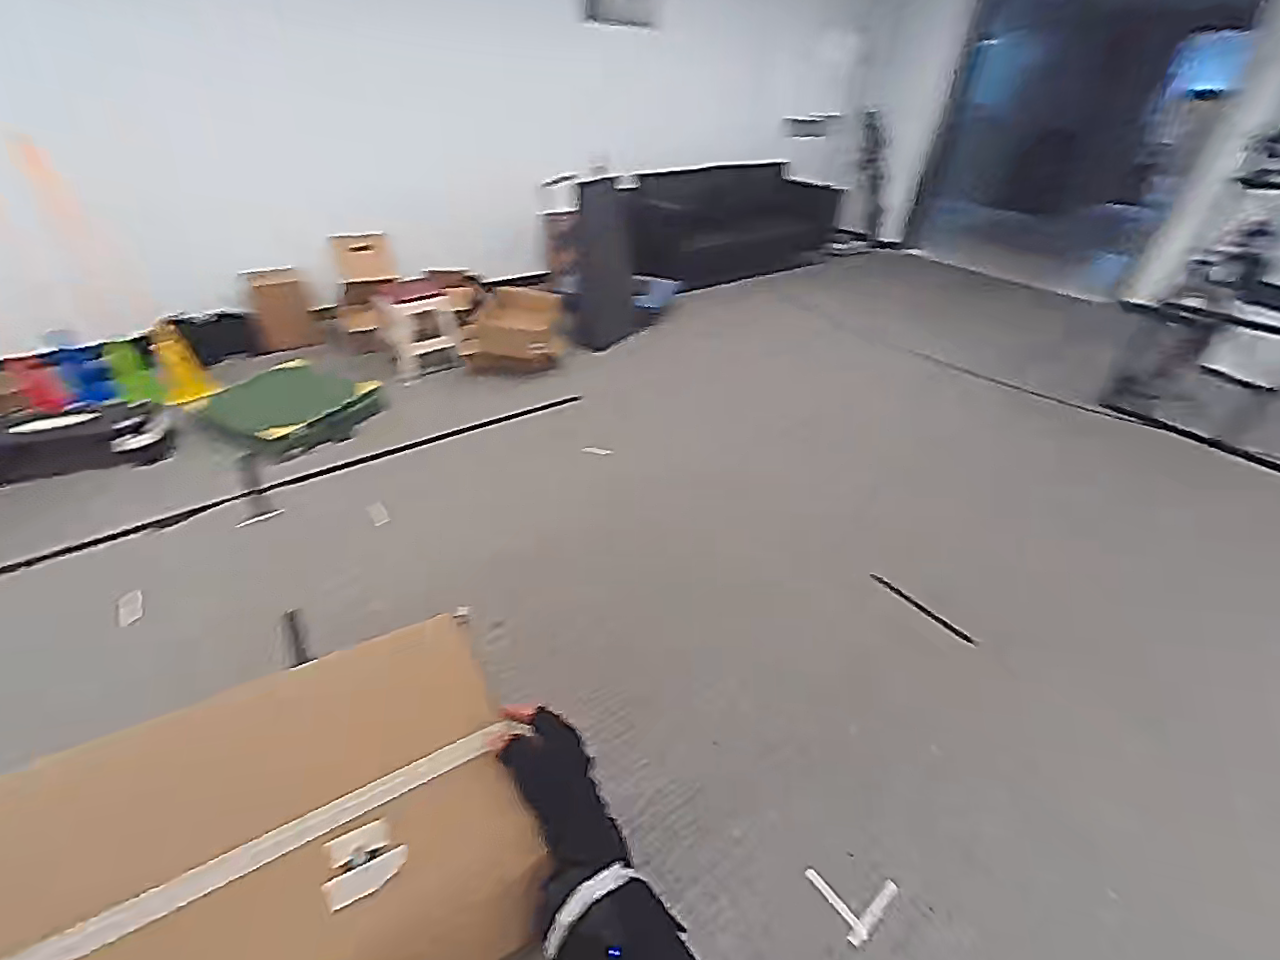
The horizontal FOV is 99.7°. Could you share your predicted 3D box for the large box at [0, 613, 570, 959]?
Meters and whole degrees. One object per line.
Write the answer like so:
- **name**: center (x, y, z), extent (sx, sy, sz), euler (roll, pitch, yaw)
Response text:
- **large box**: center (-0.324, 0.409, 0.546), extent (0.408, 0.320, 0.320), euler (-16, 49, -28)
